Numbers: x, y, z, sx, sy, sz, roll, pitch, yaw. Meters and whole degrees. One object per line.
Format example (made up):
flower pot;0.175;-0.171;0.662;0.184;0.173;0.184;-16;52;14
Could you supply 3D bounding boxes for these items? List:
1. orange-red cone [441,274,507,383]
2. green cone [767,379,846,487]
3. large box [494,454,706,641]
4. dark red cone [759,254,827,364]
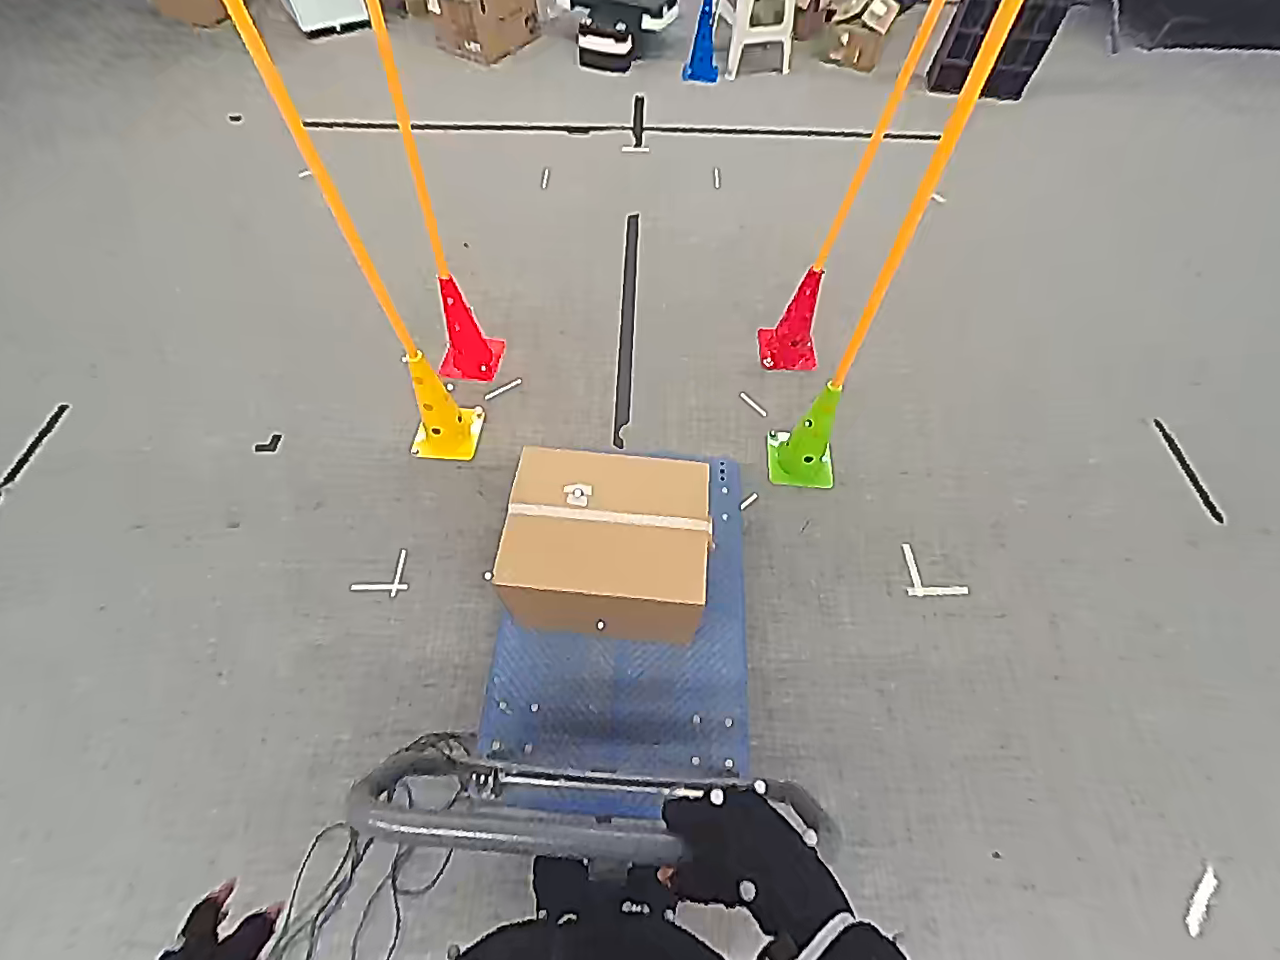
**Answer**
orange-red cone;-0.586;-0.522;1.791;0.198;0.360;0.199;8;58;3
green cone;0.517;-0.158;1.589;0.202;0.368;0.200;5;59;1
large box;-0.065;0.162;1.217;0.408;0.320;0.320;5;59;3
dark red cone;0.546;-0.582;1.824;0.201;0.394;0.202;2;59;-2
